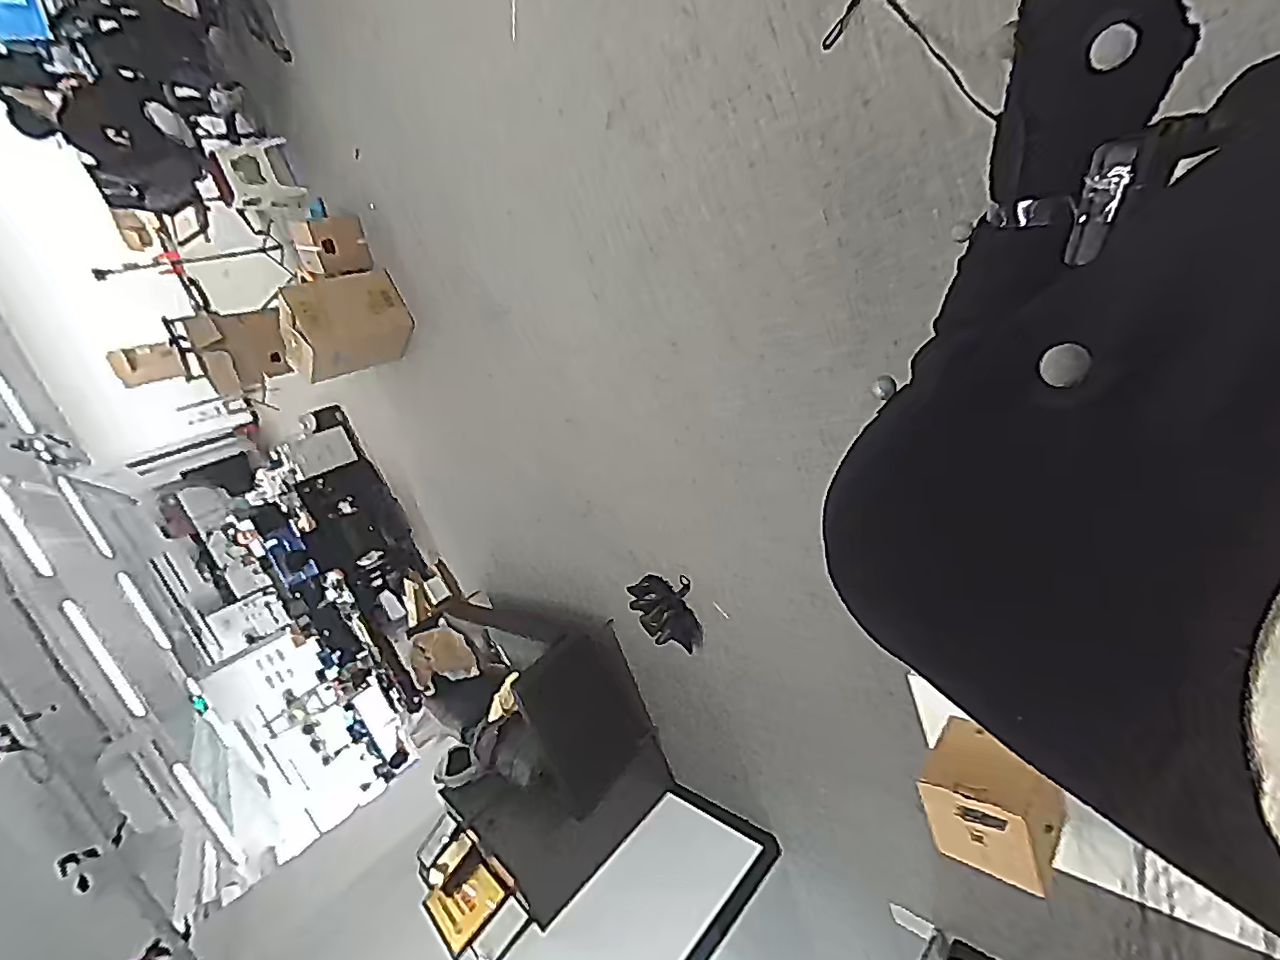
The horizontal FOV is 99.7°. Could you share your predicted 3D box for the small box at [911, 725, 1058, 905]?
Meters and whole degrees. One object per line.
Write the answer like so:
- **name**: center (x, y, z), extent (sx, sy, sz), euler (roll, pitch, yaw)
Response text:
- **small box**: center (0.610, 0.573, 0.954), extent (0.168, 0.176, 0.179), euler (-4, 111, 51)
